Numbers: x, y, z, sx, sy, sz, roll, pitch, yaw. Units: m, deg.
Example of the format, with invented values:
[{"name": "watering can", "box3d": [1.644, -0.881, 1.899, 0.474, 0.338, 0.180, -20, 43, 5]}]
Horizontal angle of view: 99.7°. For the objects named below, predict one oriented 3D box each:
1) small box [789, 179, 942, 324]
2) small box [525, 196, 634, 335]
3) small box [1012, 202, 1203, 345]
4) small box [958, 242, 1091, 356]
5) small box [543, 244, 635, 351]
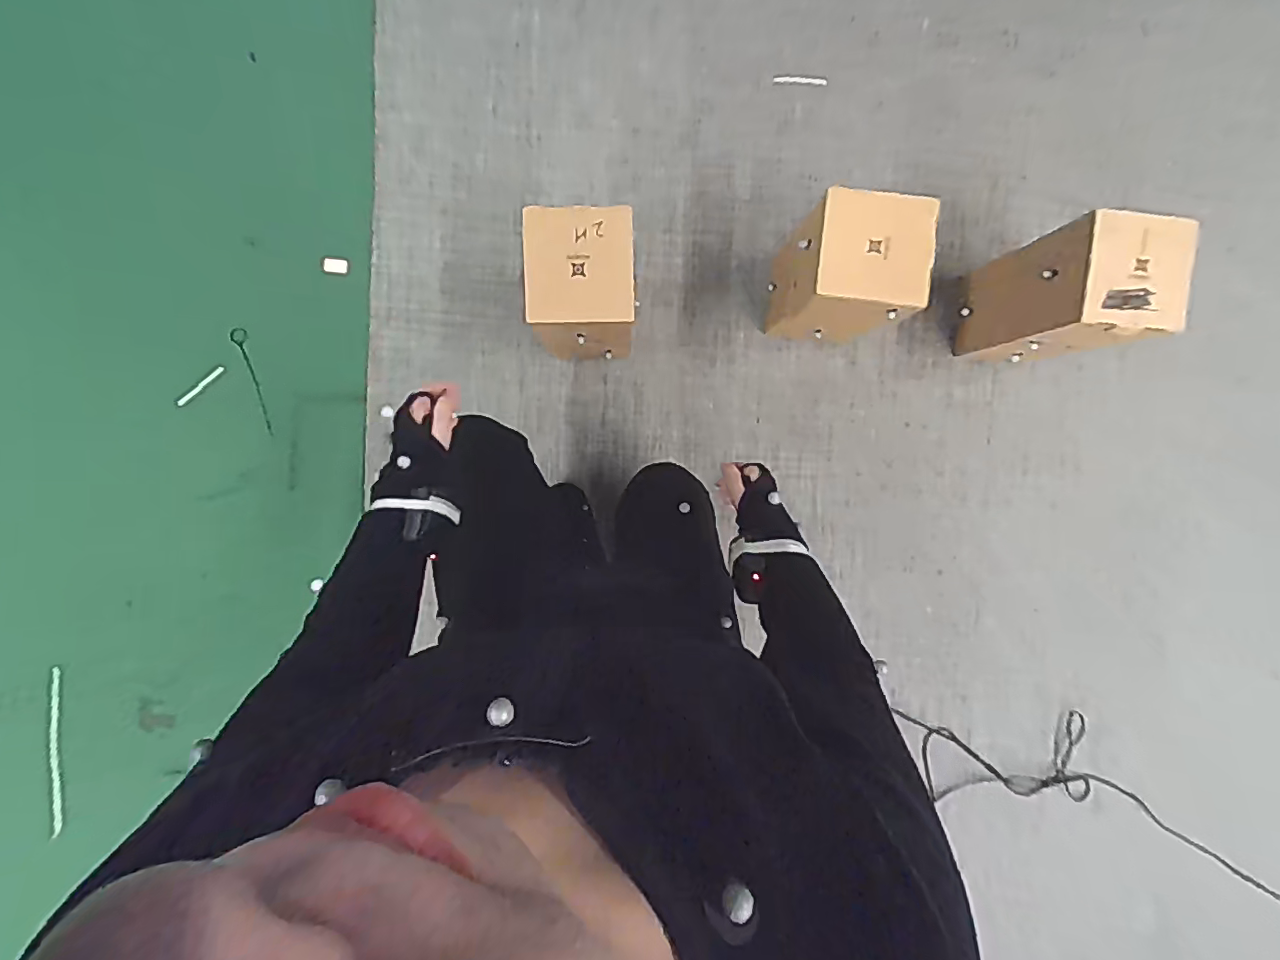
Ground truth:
[{"name": "small box", "box3d": [0.360, -0.366, 0.896, 0.179, 0.176, 0.168, 6, 93, -1]}, {"name": "small box", "box3d": [-0.093, -0.339, 0.889, 0.168, 0.176, 0.179, 0, 94, -3]}, {"name": "small box", "box3d": [0.764, -0.332, 0.904, 0.168, 0.176, 0.179, 6, 93, -2]}, {"name": "small box", "box3d": [0.763, -0.346, 1.069, 0.168, 0.176, 0.179, 5, 94, -2]}, {"name": "small box", "box3d": [-0.094, -0.352, 1.052, 0.168, 0.176, 0.179, 1, 92, -2]}]
